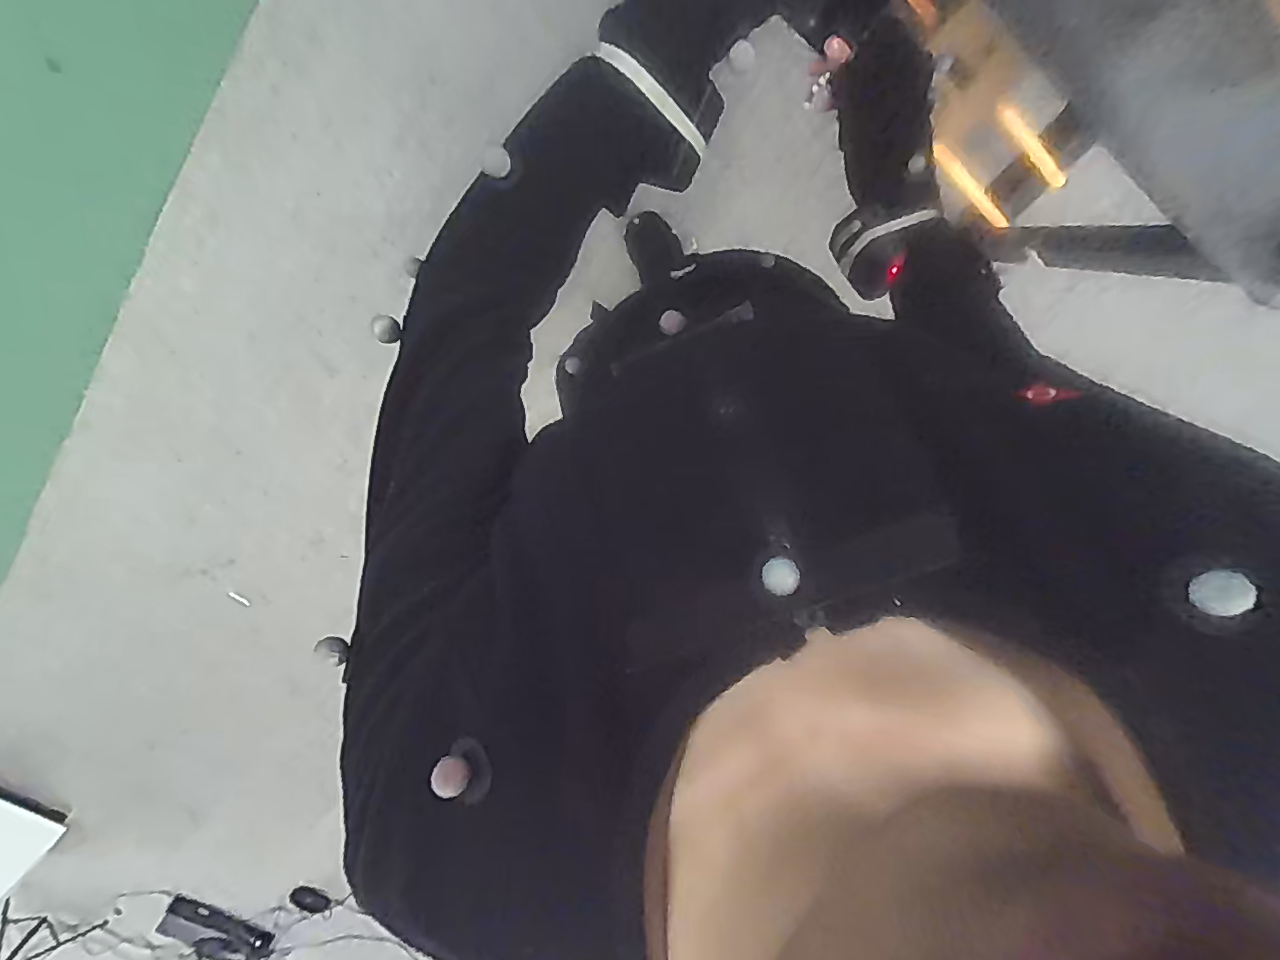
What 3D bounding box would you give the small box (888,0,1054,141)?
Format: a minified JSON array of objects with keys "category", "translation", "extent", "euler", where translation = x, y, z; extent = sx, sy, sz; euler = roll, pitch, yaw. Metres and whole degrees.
[{"category":"small box","translation":[0.585,-0.760,0.988],"extent":[0.168,0.176,0.179],"euler":[41,109,-16]}]
